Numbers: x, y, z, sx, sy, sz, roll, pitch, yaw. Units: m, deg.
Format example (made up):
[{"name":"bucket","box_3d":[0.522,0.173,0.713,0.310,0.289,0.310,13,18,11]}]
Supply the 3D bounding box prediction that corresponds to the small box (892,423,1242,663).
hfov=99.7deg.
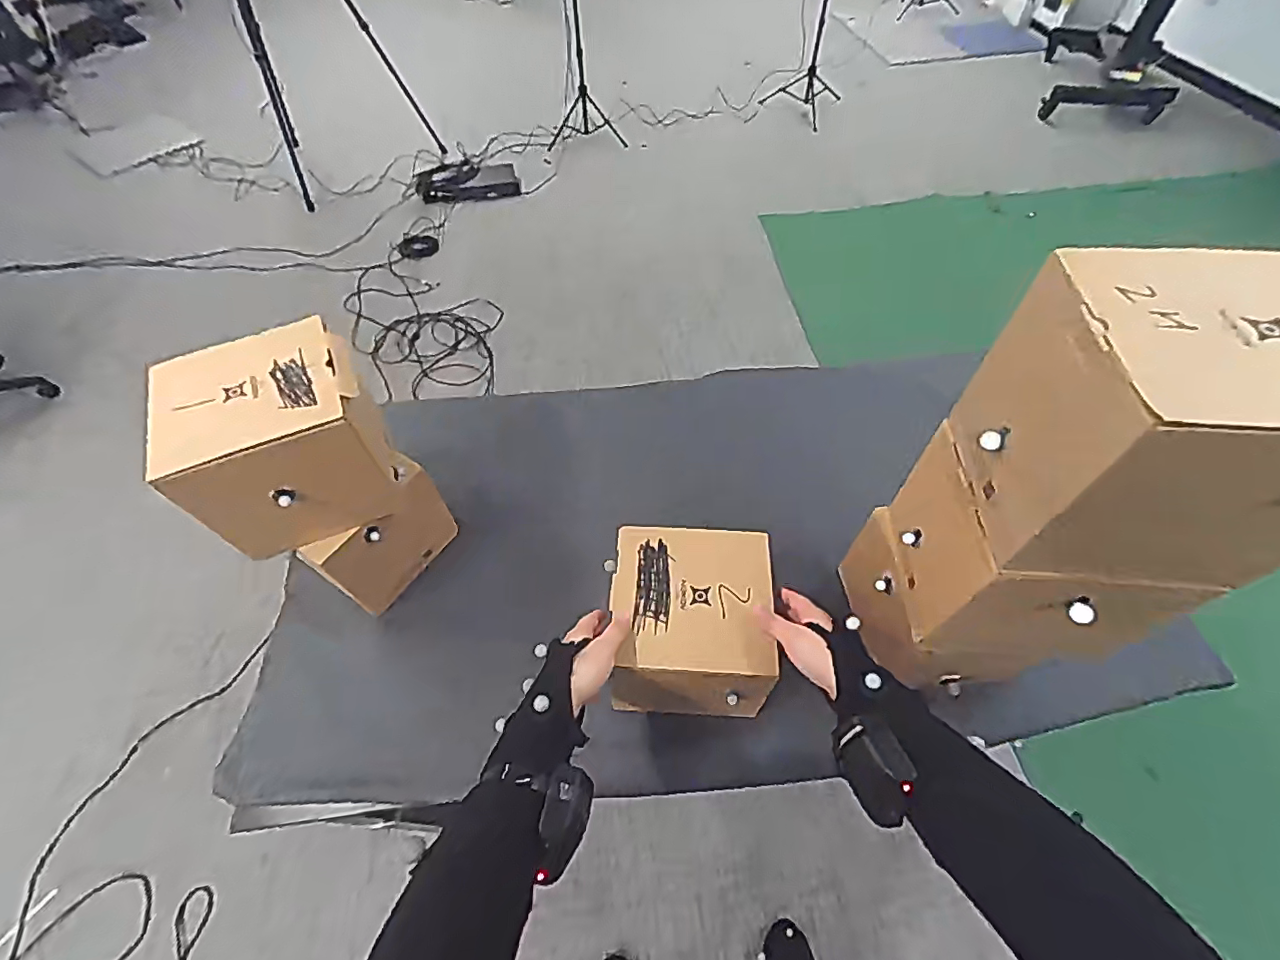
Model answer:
[{"name":"small box","box_3d":[0.368,0.065,0.513,0.179,0.176,0.168,2,54,5]}]

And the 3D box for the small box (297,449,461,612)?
[{"name":"small box","box_3d":[-0.384,0.054,0.747,0.179,0.176,0.168,28,60,20]}]

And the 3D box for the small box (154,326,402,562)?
[{"name":"small box","box_3d":[-0.388,-0.037,0.609,0.179,0.176,0.168,-22,58,-13]}]

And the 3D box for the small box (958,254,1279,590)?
[{"name":"small box","box_3d":[0.364,-0.035,0.382,0.179,0.176,0.168,3,53,7]}]

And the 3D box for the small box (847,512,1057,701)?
[{"name":"small box","box_3d":[0.372,0.149,0.653,0.168,0.176,0.179,-6,54,-1]}]
